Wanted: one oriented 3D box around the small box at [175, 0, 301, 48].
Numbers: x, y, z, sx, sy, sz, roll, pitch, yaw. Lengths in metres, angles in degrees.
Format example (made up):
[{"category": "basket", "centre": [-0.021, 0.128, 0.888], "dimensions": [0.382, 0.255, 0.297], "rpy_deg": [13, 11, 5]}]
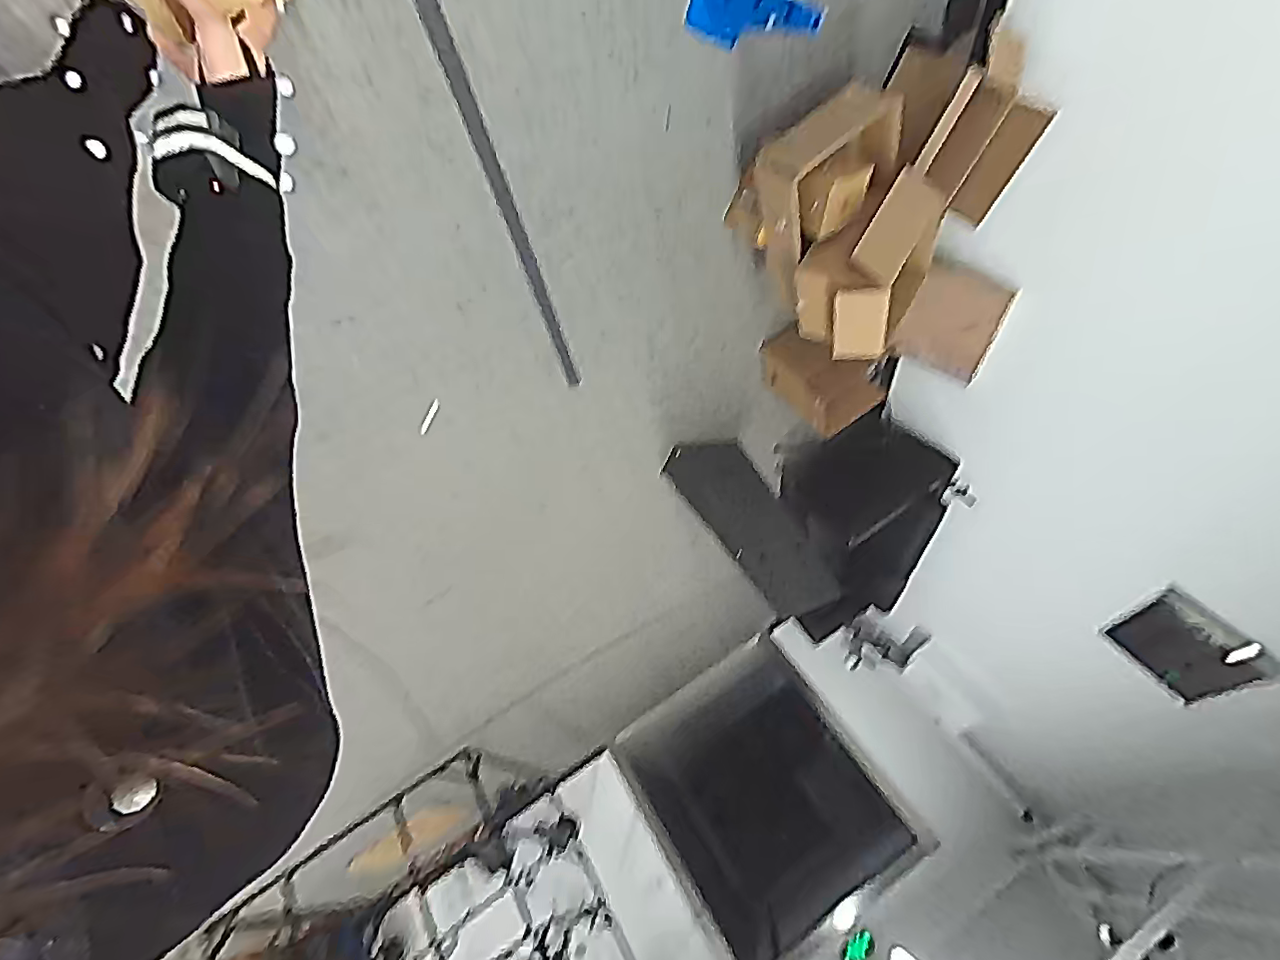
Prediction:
[{"category": "small box", "centre": [-0.714, -0.871, 0.900], "dimensions": [0.179, 0.176, 0.168], "rpy_deg": [-33, 147, -7]}]
